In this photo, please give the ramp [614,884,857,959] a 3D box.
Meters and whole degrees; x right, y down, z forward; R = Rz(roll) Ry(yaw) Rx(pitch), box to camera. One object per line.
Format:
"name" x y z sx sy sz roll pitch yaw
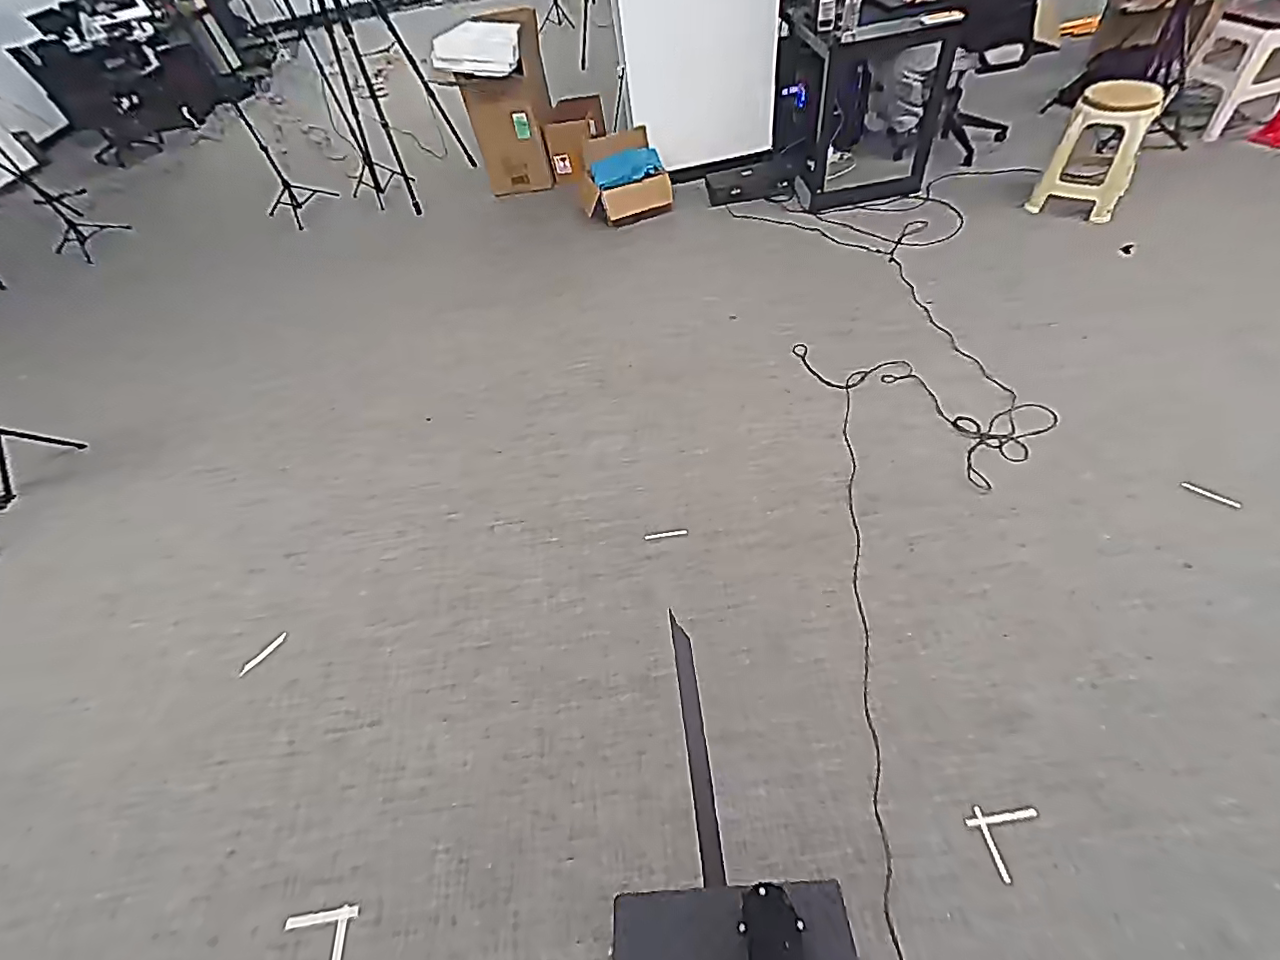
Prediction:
"ramp" 0.196 1.221 0.799 0.509 0.206 0.991 -9 50 4
